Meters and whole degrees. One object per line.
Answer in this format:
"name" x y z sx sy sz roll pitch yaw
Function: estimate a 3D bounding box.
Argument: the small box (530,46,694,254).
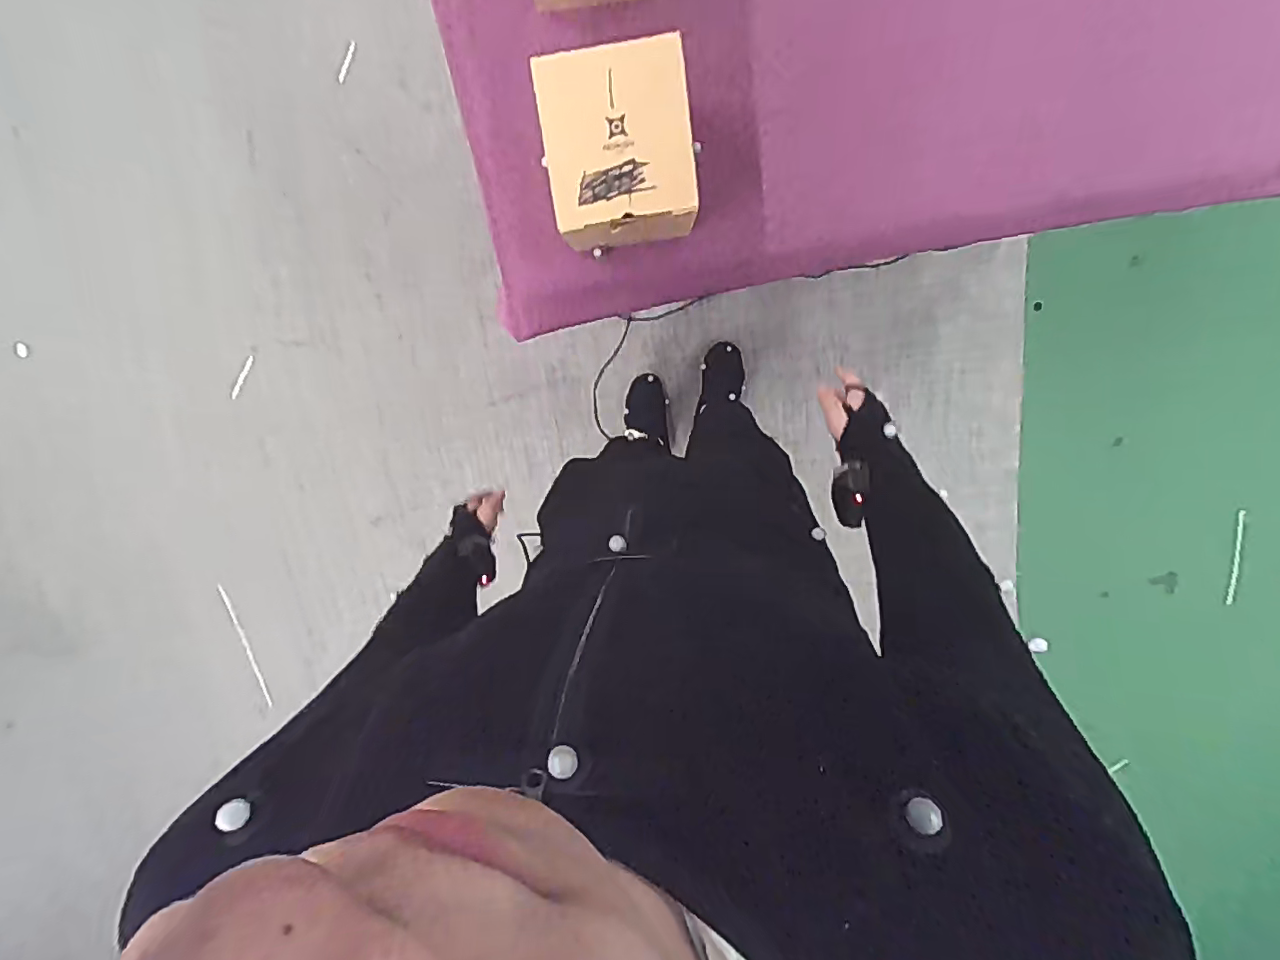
"small box" -0.026 -0.390 0.677 0.168 0.176 0.179 -8 104 2

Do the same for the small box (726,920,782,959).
"small box" 0.373 1.573 1.747 0.168 0.176 0.179 -6 104 2
